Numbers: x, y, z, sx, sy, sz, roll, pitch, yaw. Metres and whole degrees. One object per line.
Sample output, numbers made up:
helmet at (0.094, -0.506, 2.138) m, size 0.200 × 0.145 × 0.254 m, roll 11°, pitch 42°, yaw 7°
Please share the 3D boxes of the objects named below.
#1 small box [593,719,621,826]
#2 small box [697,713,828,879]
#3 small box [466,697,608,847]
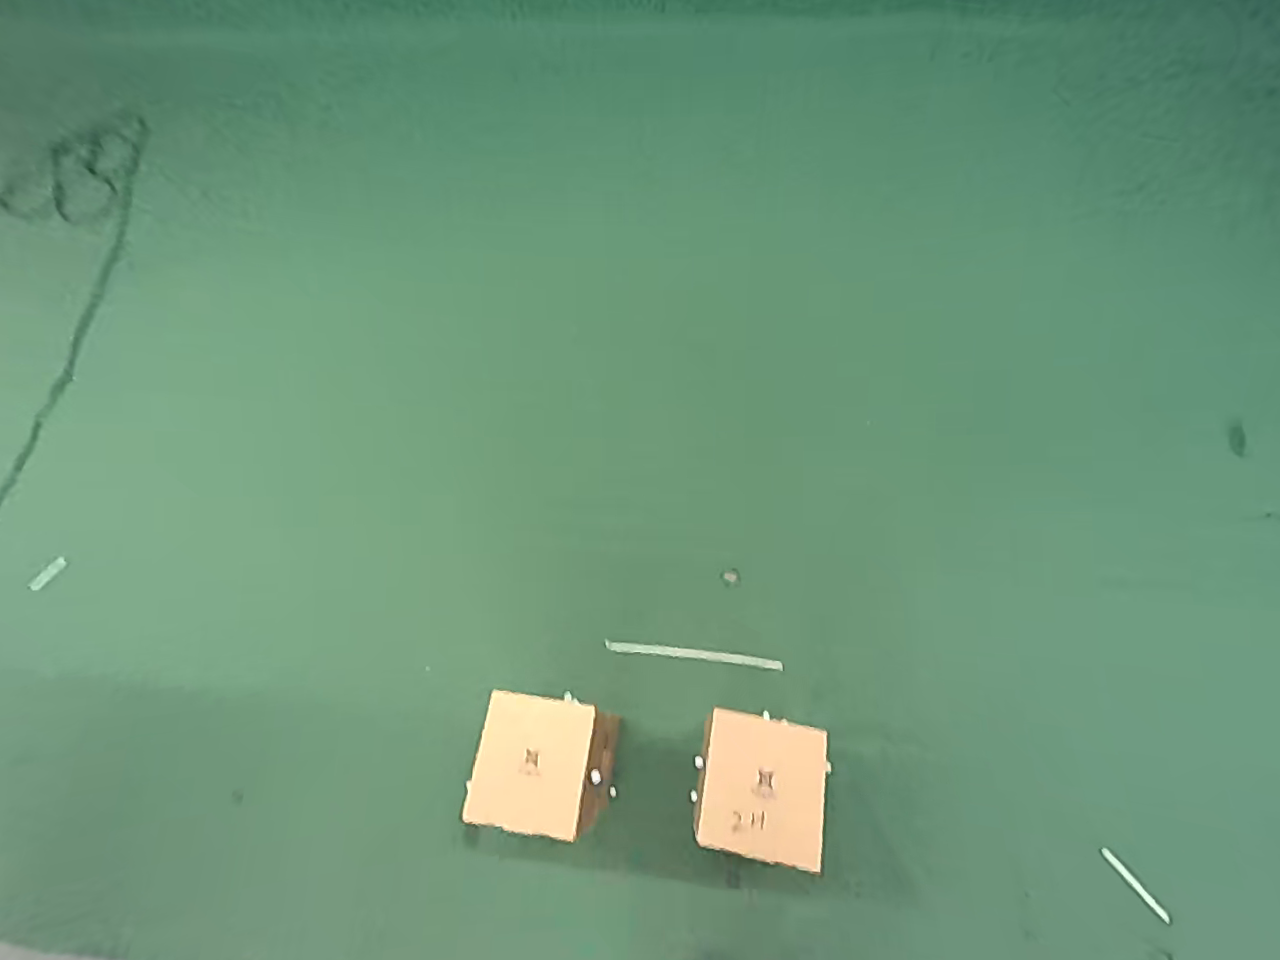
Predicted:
small box at (-0.138, 0.529, 1.012) m, size 0.179 × 0.176 × 0.168 m, roll 5°, pitch 64°, yaw 8°
small box at (0.181, 0.470, 0.828) m, size 0.168 × 0.176 × 0.179 m, roll 9°, pitch 65°, yaw 9°
small box at (-0.150, 0.459, 0.865) m, size 0.168 × 0.176 × 0.179 m, roll 5°, pitch 64°, yaw 8°
